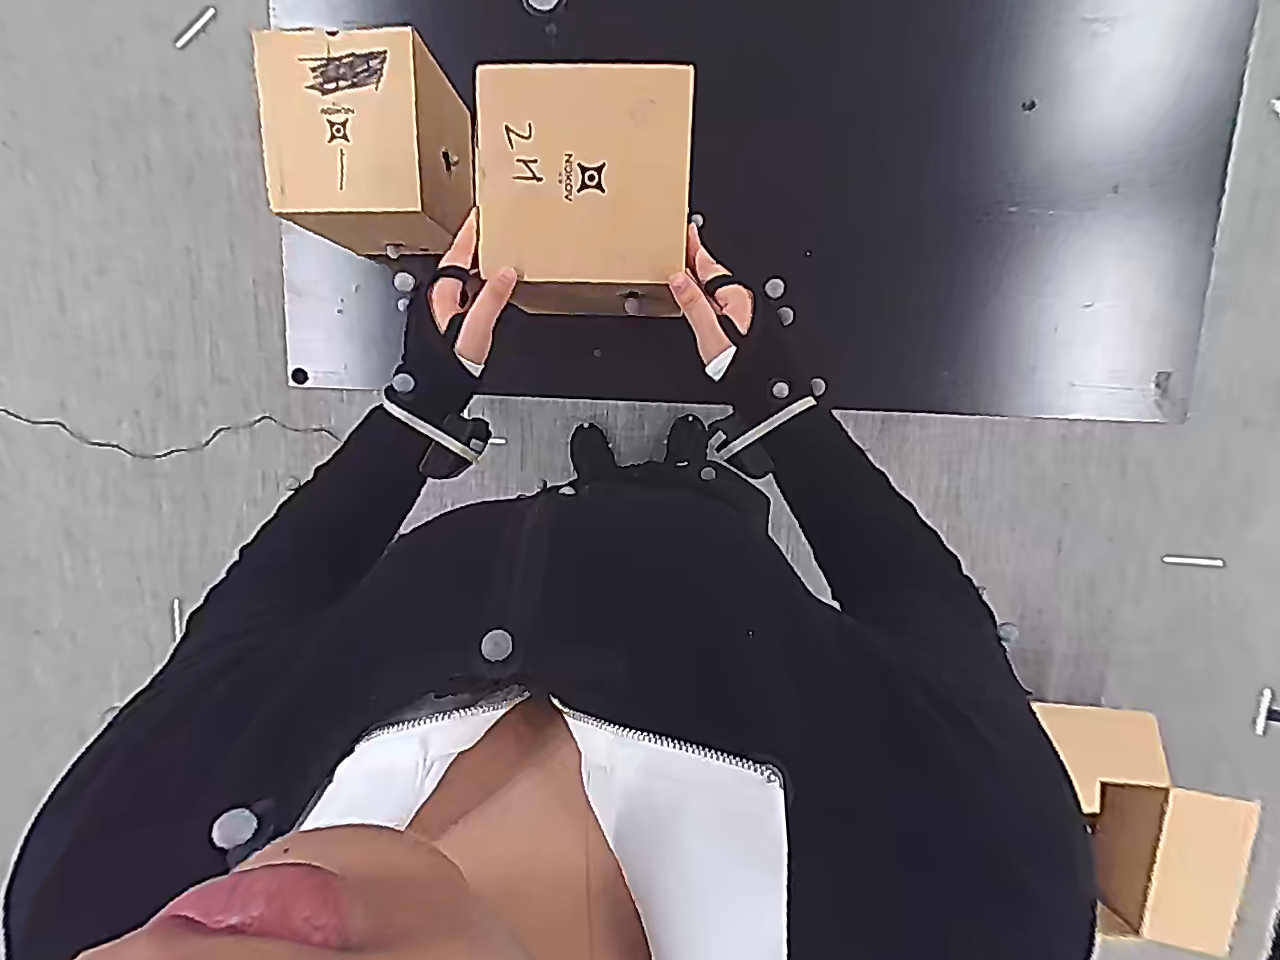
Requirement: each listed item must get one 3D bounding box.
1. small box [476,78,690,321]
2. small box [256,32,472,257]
[{"bbox_3d":[-0.045,-0.252,0.524,0.179,0.176,0.168,2,98,3],"label":"small box"},{"bbox_3d":[-0.307,-0.377,0.637,0.168,0.176,0.179,1,99,2],"label":"small box"}]
